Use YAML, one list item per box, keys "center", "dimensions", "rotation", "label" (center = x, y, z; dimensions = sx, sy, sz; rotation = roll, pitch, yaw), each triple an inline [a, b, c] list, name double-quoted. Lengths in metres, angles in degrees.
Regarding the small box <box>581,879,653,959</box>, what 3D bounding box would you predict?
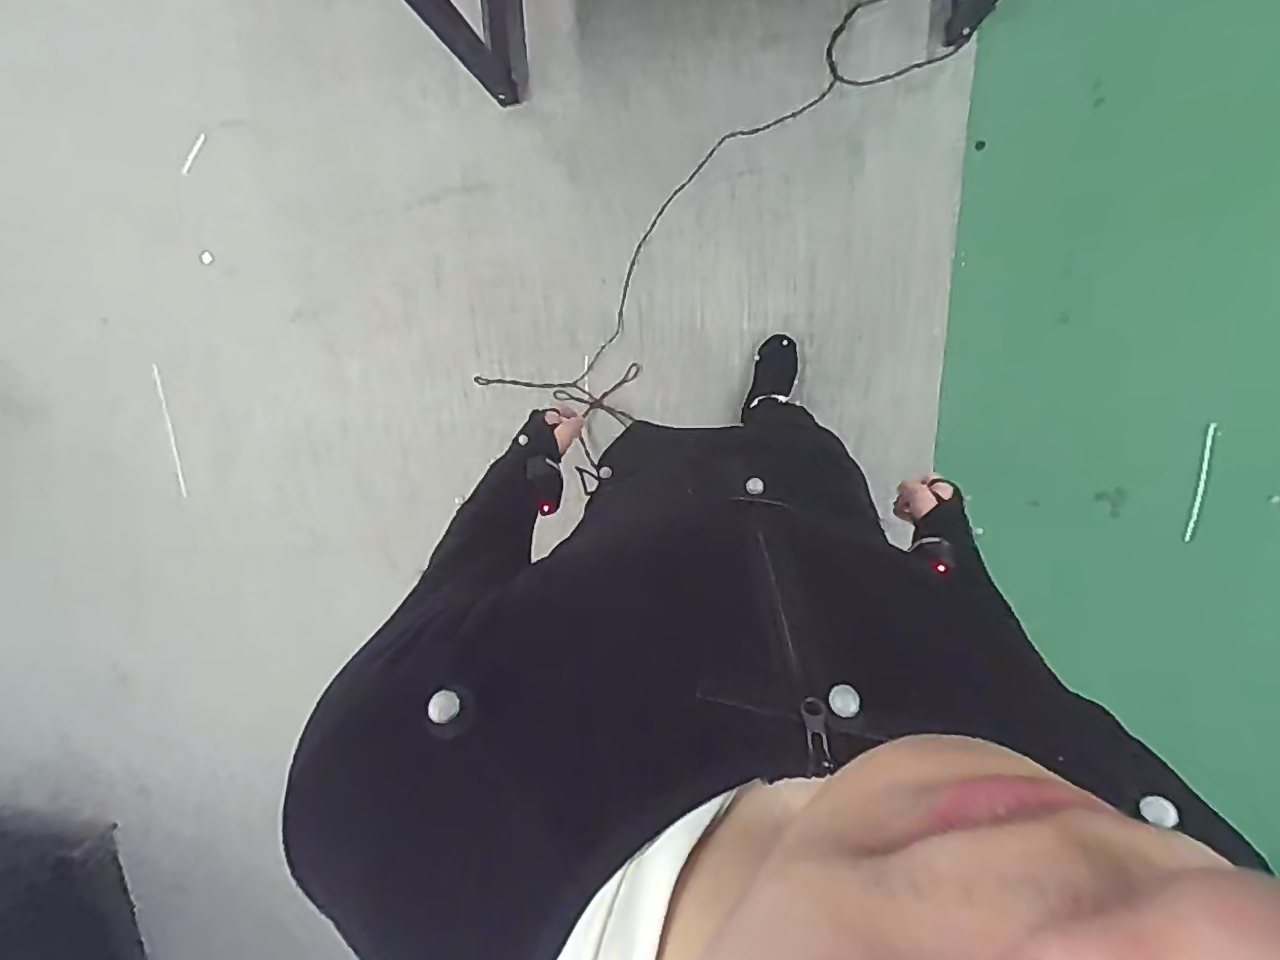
- center: [-0.059, 1.211, 1.429]
  dimensions: [0.168, 0.176, 0.179]
  rotation: [4, 102, 8]
  label: "small box"
